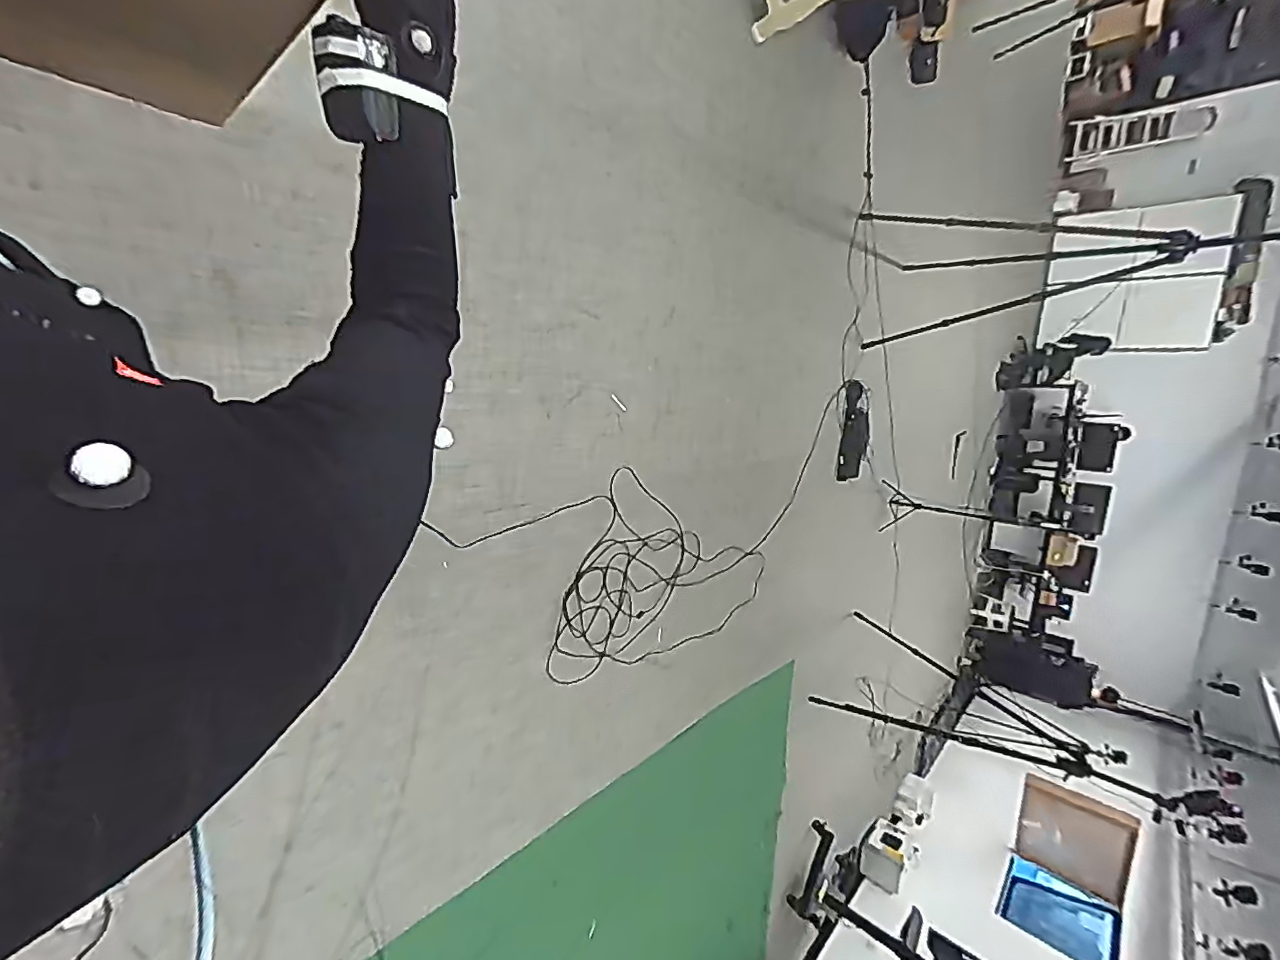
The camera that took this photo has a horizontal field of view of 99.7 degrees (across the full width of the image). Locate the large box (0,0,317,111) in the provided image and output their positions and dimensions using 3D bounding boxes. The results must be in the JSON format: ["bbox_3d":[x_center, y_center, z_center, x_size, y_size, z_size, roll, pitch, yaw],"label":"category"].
[{"bbox_3d":[-0.429,-0.466,0.269,0.408,0.320,0.320,-8,106,-48],"label":"large box"}]
